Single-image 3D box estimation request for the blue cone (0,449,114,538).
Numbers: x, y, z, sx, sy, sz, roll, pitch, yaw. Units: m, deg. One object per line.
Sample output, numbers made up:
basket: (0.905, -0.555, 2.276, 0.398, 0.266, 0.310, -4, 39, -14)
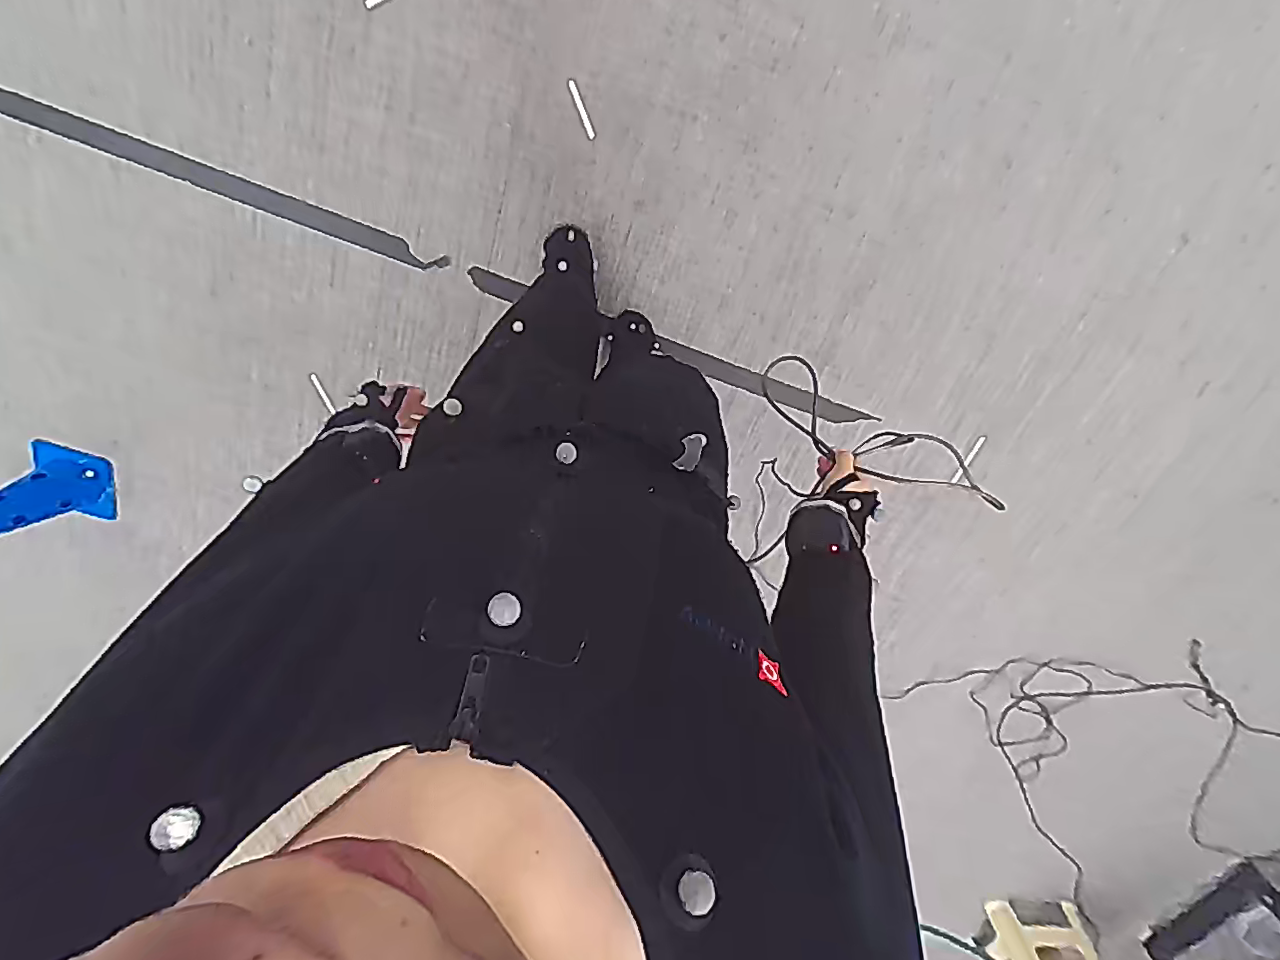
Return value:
blue cone: (-1.532, 0.085, 1.312, 0.193, 0.380, 0.192, 19, 115, -7)
